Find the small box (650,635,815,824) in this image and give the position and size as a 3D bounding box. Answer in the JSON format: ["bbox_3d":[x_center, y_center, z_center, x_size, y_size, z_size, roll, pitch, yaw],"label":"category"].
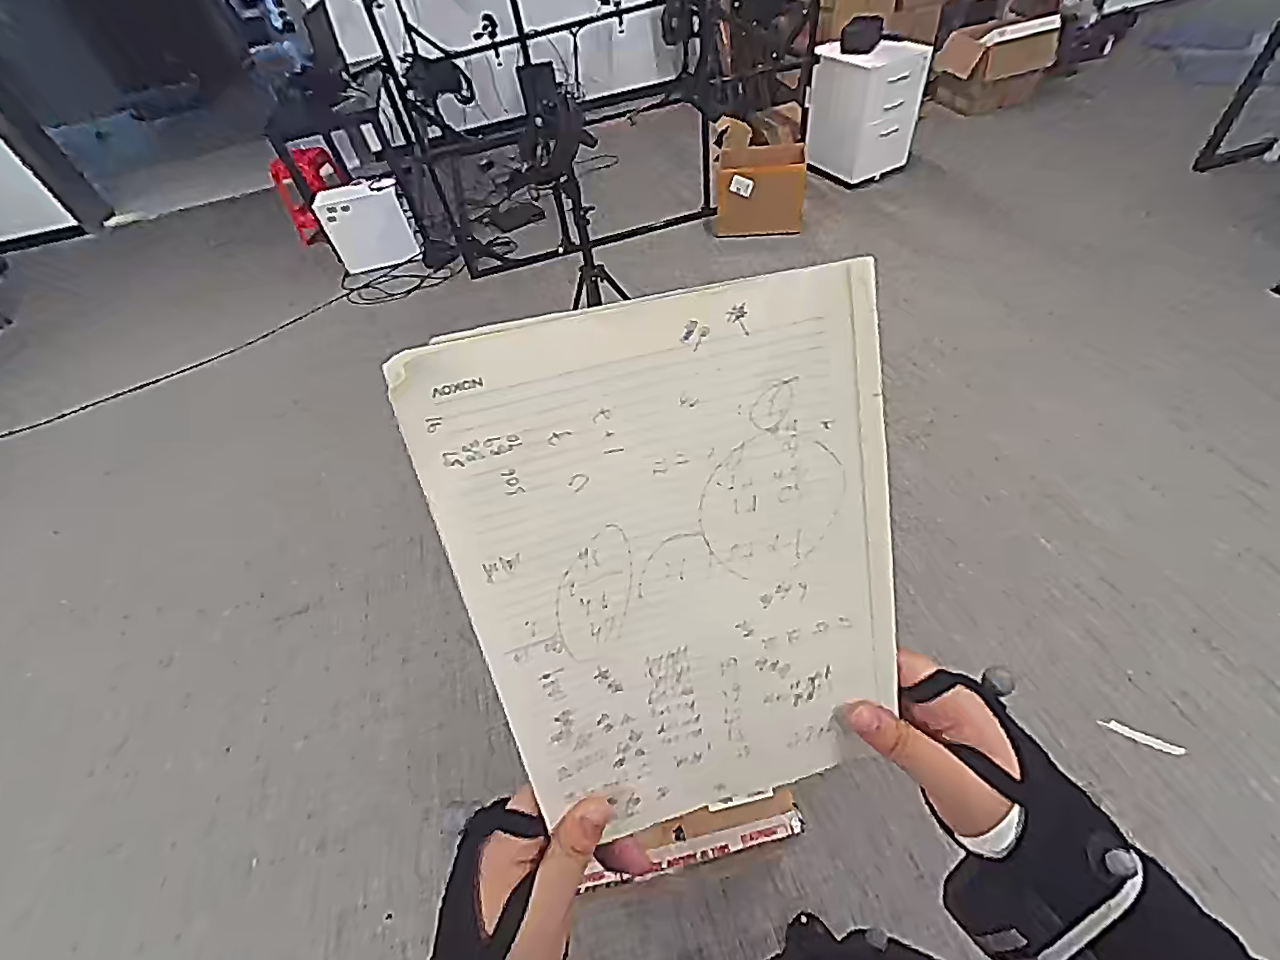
[{"bbox_3d":[0.109,0.332,0.717,0.168,0.176,0.179,-10,51,-3],"label":"small box"}]

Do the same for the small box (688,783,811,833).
[{"bbox_3d":[0.140,0.430,0.847,0.179,0.176,0.168,-14,51,-5],"label":"small box"}]
